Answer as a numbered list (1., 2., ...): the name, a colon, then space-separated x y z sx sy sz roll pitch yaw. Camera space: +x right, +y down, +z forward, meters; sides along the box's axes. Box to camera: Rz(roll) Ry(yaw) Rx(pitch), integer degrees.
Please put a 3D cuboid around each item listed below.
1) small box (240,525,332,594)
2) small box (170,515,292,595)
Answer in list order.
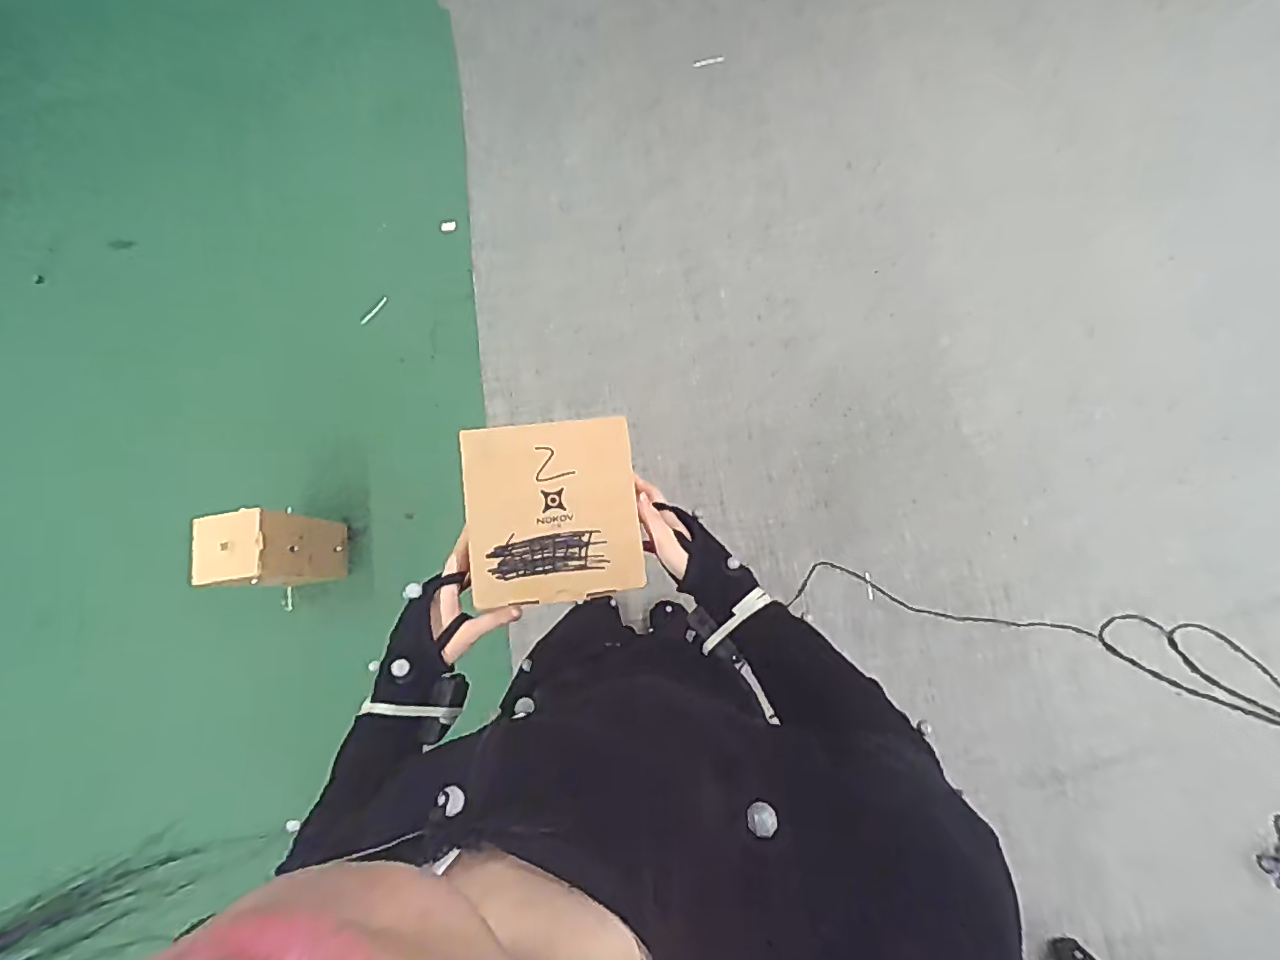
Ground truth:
1. small box: -0.990 0.225 1.497 0.179 0.176 0.168 -9 78 3
2. small box: -1.005 0.191 1.339 0.179 0.176 0.168 -10 77 2
